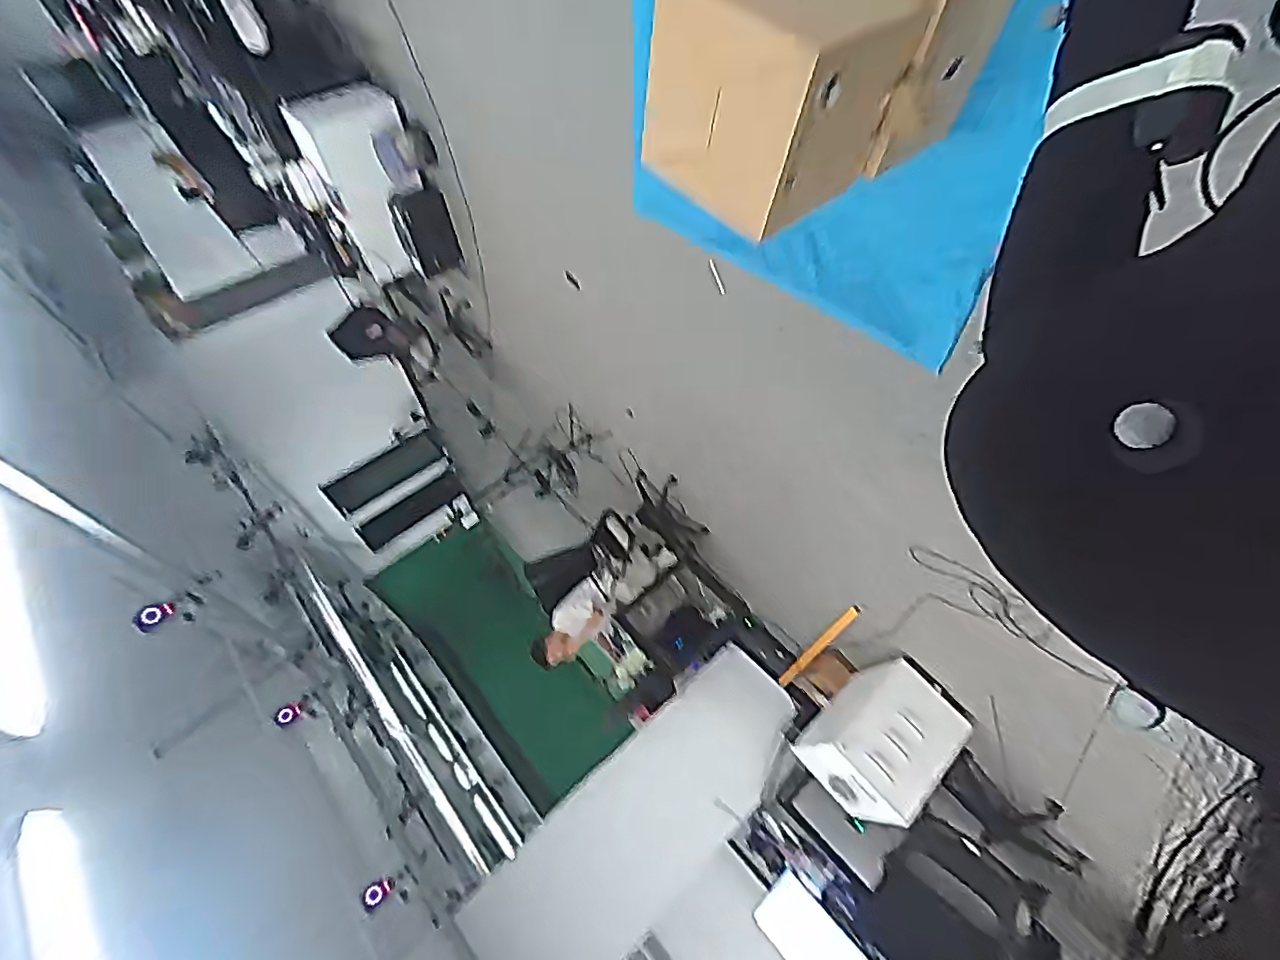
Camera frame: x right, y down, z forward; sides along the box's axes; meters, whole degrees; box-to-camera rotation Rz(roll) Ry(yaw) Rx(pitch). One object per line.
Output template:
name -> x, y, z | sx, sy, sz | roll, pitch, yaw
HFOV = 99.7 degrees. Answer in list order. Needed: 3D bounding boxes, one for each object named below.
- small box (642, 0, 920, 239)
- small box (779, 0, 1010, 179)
small box -> 0.124, -0.375, 0.536 | 0.179, 0.176, 0.168 | 43, 155, 18
small box -> 0.253, -0.464, 0.589 | 0.179, 0.176, 0.168 | 43, 154, 22
